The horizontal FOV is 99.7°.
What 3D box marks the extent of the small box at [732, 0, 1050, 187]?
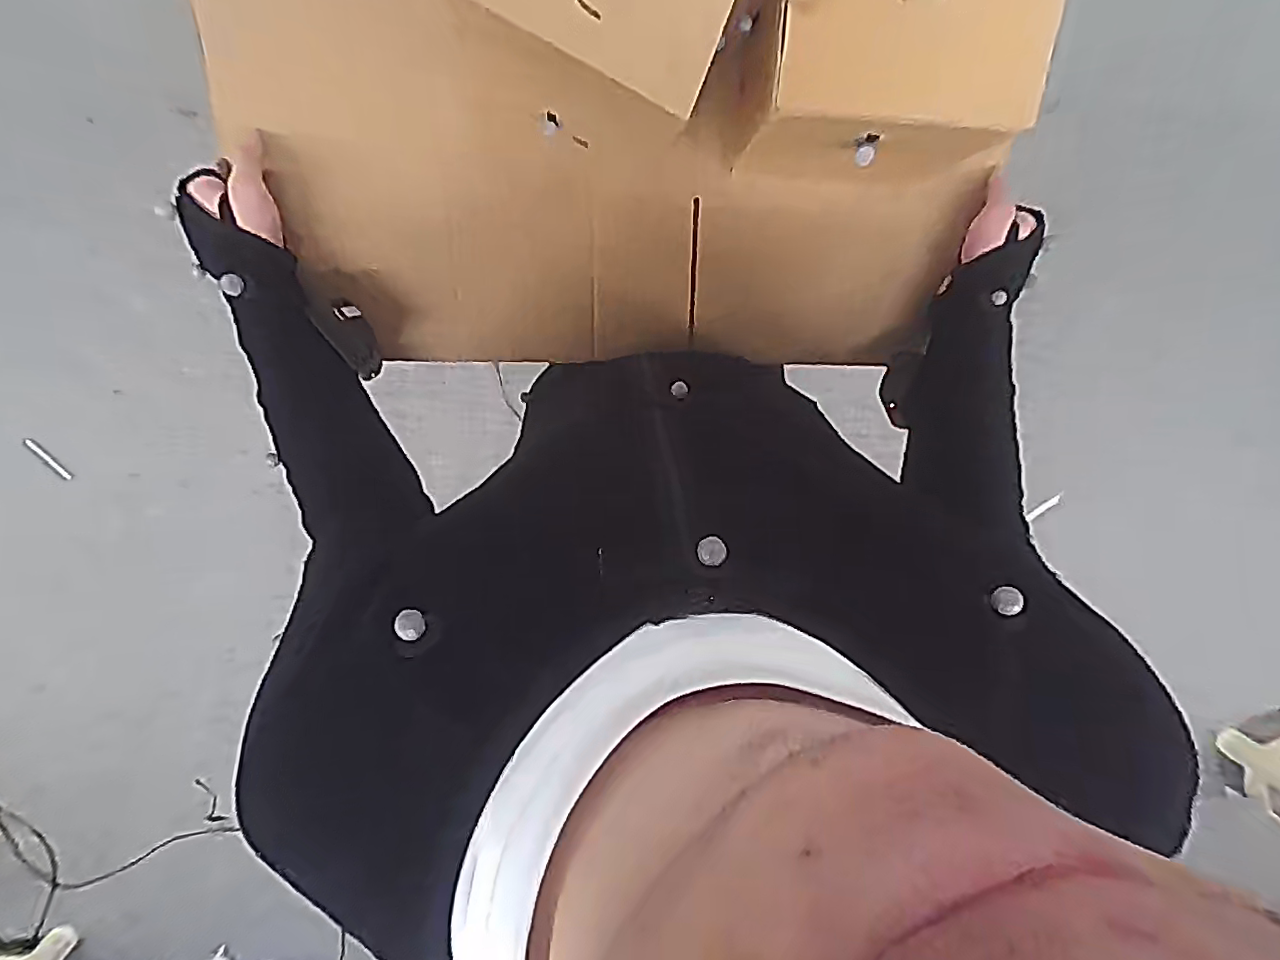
[{"bbox_3d":[0.181,-0.342,0.424,0.179,0.176,0.168,3,106,-1],"label":"small box"}]
